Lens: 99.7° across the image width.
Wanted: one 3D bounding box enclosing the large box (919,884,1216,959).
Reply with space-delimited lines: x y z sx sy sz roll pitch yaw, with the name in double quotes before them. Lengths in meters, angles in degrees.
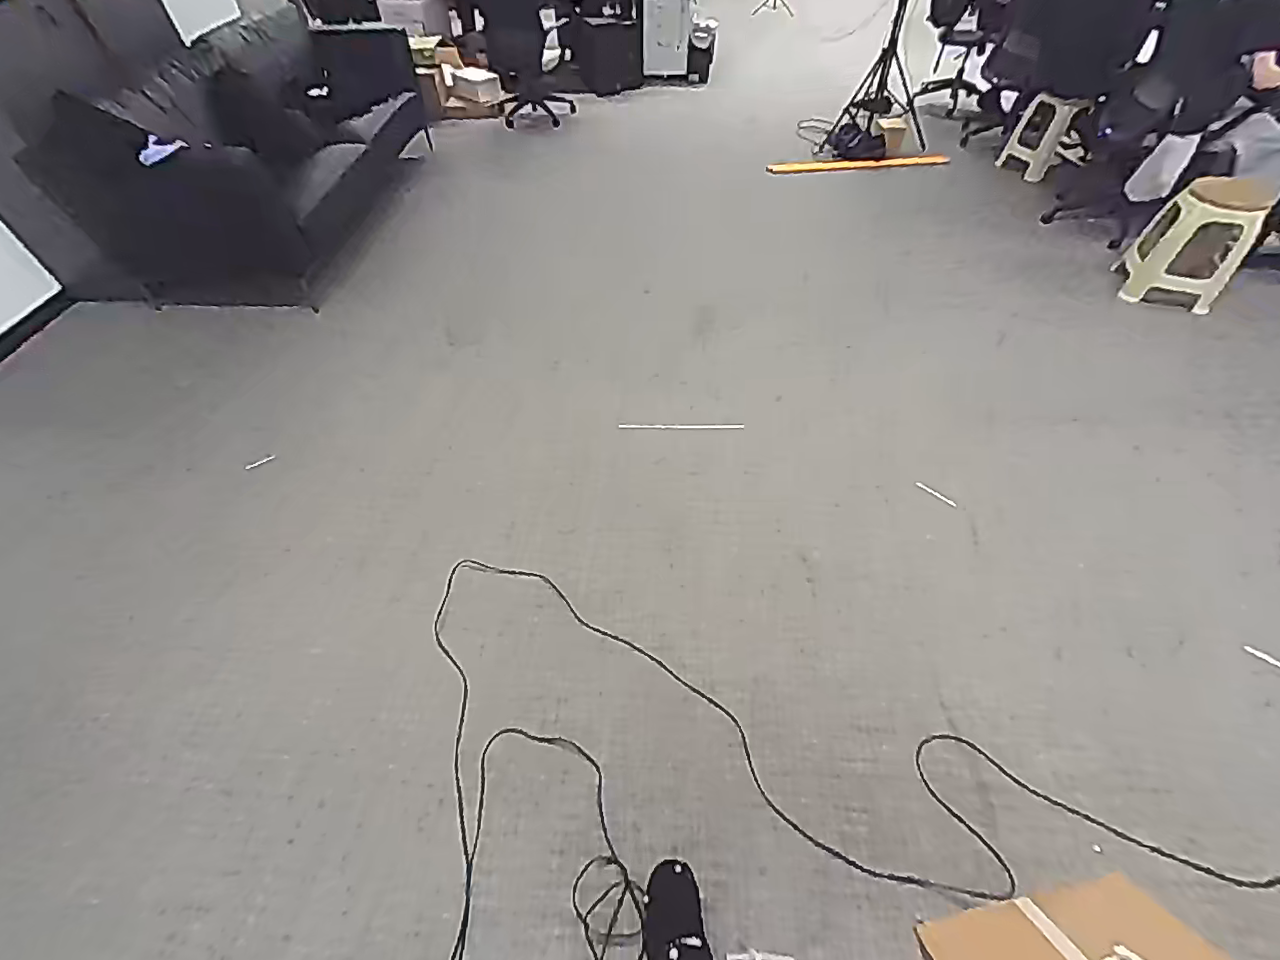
"large box" 0.586 0.757 0.578 0.320 0.408 0.320 -13 87 0
